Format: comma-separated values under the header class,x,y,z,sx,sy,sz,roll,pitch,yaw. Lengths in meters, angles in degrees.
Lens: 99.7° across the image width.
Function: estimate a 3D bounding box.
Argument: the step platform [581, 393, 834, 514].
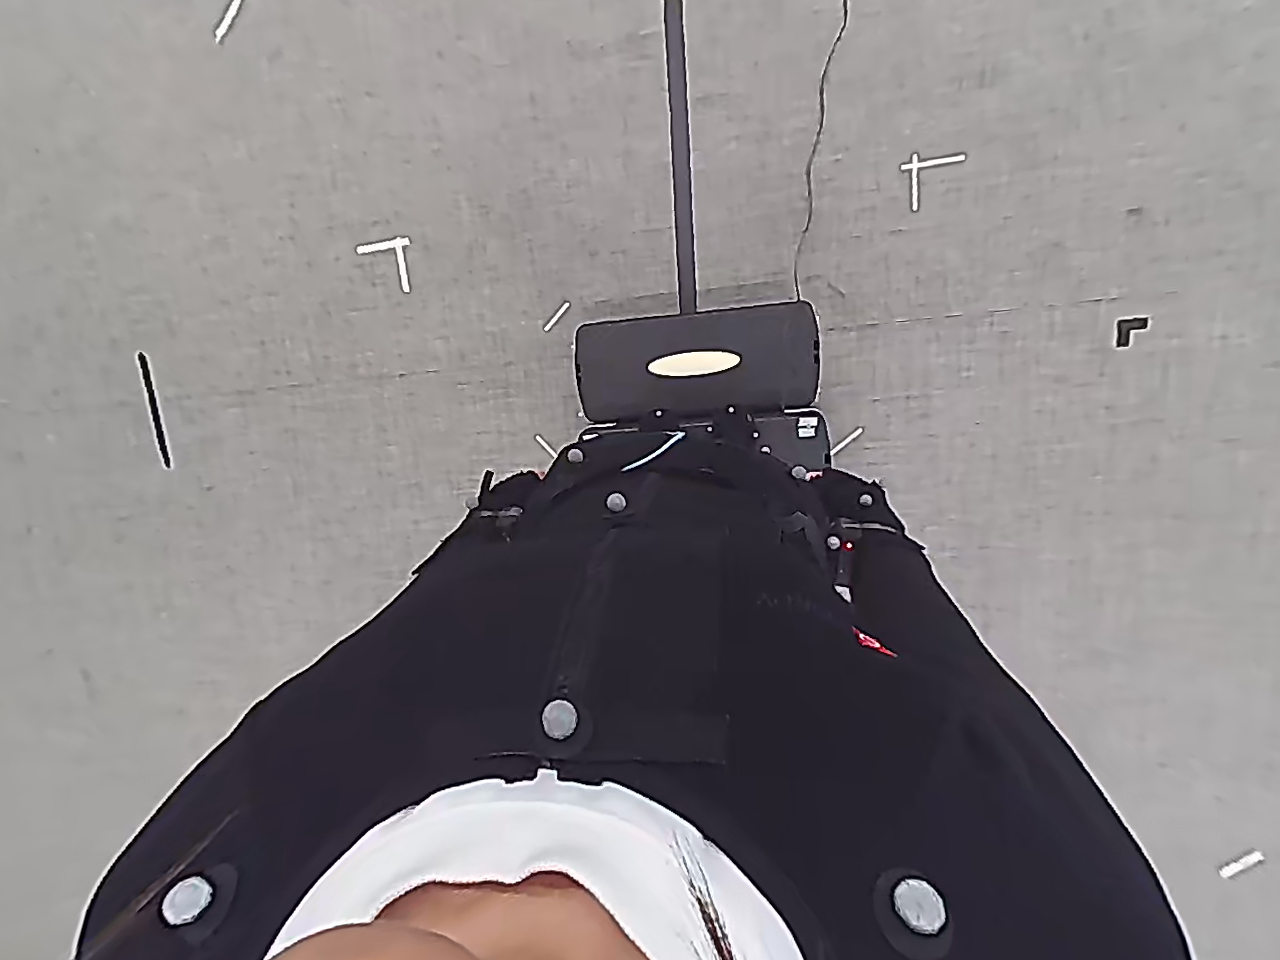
class,x,y,z,sx,sy,sz,roll,pitch,yaw
step platform,0.179,-0.071,1.508,0.684,0.204,0.286,-4,98,10
